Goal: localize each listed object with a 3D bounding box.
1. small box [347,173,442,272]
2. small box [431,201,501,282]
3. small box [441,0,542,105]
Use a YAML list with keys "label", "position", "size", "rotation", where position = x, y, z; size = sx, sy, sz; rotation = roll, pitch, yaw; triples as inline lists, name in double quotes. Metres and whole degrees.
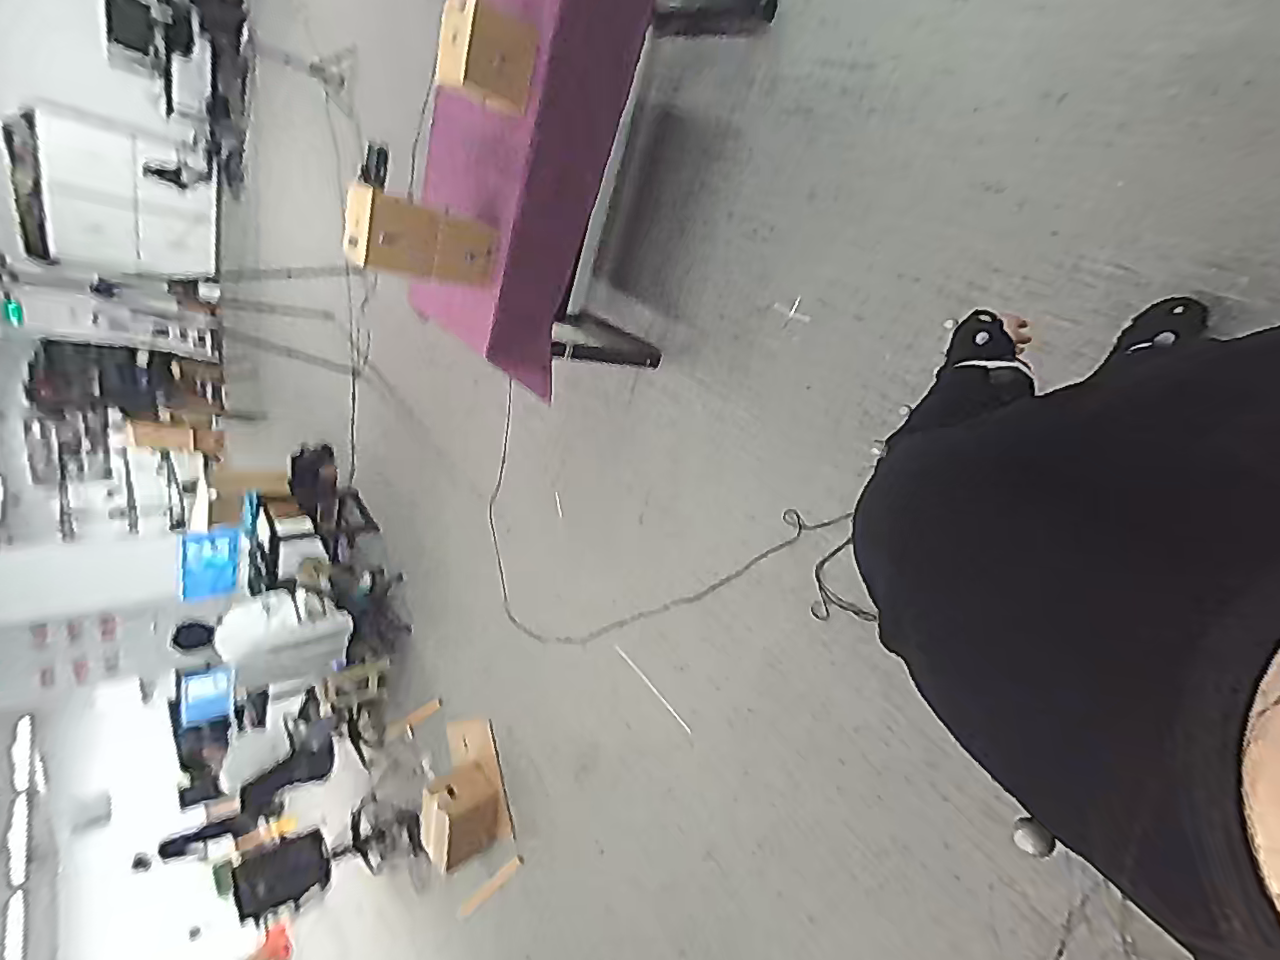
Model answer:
- label: "small box"
  position: [-0.623, -0.648, 1.375]
  size: [0.168, 0.176, 0.179]
  rotation: [38, 118, 37]
- label: "small box"
  position: [-0.506, -0.658, 1.490]
  size: [0.179, 0.176, 0.168]
  rotation: [38, 118, 37]
- label: "small box"
  position: [-0.359, -1.041, 1.312]
  size: [0.168, 0.176, 0.179]
  rotation: [37, 119, 37]
